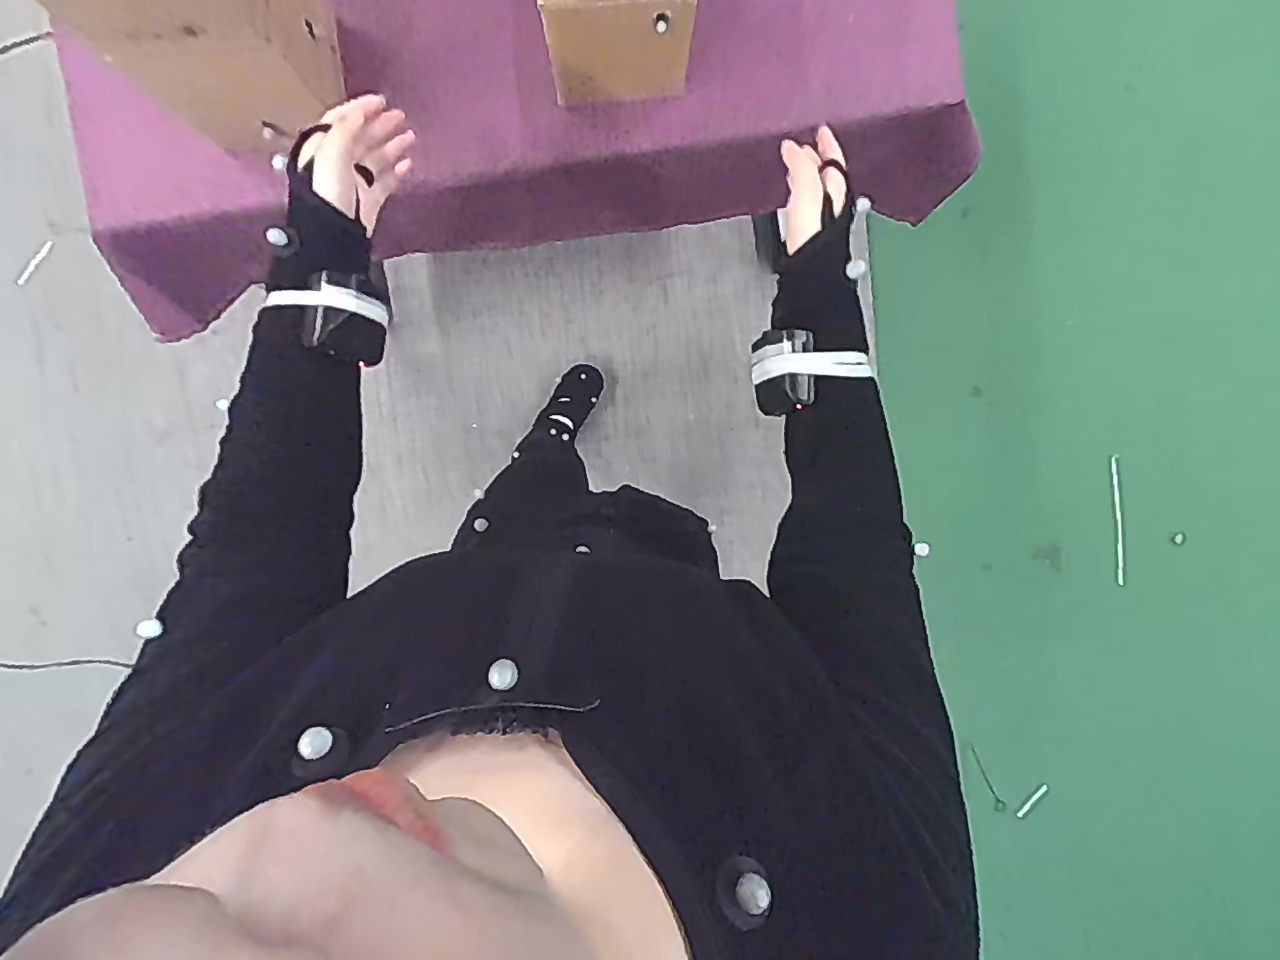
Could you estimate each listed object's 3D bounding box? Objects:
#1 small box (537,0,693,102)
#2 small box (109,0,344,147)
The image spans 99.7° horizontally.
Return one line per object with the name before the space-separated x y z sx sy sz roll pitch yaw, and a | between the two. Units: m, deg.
small box | -0.032 -0.596 0.656 0.179 0.176 0.168 -6 92 -2
small box | -0.480 -0.532 0.646 0.179 0.176 0.168 -7 92 -2
